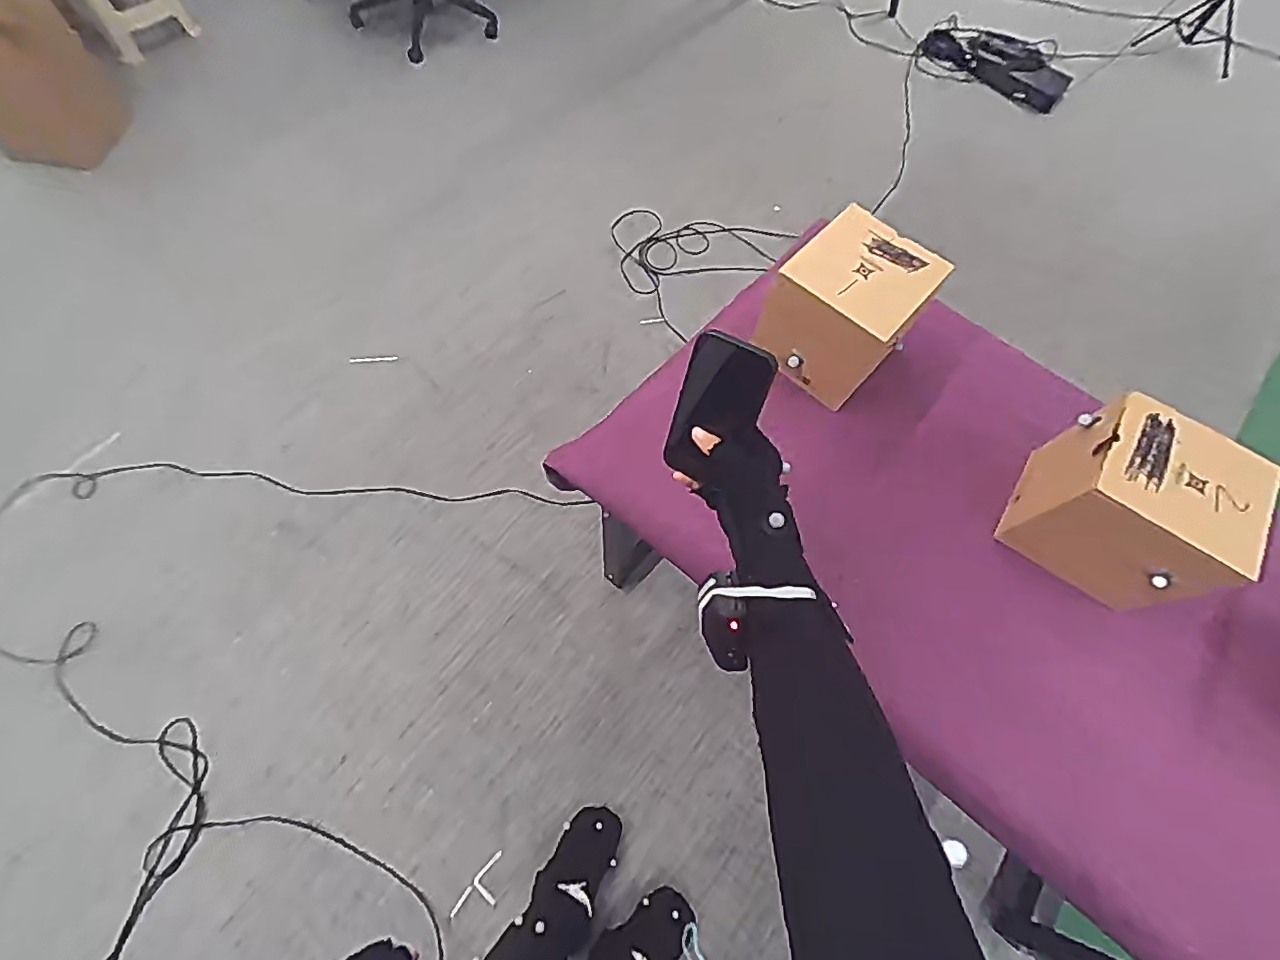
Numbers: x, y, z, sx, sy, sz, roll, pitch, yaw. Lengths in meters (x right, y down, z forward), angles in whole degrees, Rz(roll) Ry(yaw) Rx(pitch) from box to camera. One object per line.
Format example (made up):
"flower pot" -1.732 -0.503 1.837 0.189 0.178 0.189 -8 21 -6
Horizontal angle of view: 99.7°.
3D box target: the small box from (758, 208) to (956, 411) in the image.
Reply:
"small box" 0.293 -0.236 0.770 0.168 0.176 0.179 41 71 14
